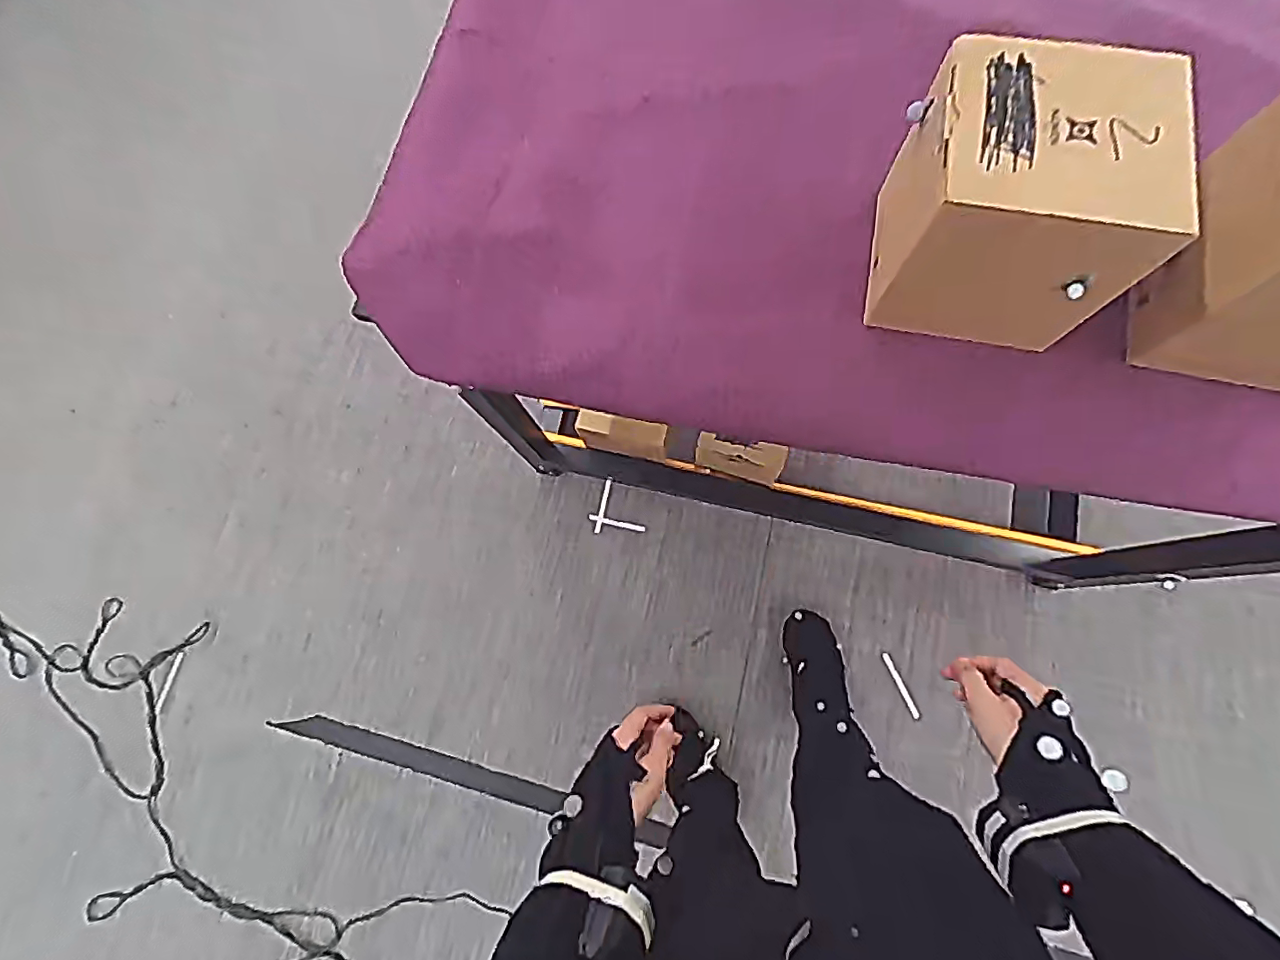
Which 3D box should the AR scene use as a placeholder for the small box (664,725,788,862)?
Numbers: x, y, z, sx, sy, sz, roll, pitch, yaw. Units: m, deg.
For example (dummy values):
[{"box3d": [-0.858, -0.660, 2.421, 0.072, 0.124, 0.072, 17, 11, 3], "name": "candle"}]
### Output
[{"box3d": [0.156, 0.590, 1.031, 0.179, 0.176, 0.168, -20, 73, -5], "name": "small box"}]
